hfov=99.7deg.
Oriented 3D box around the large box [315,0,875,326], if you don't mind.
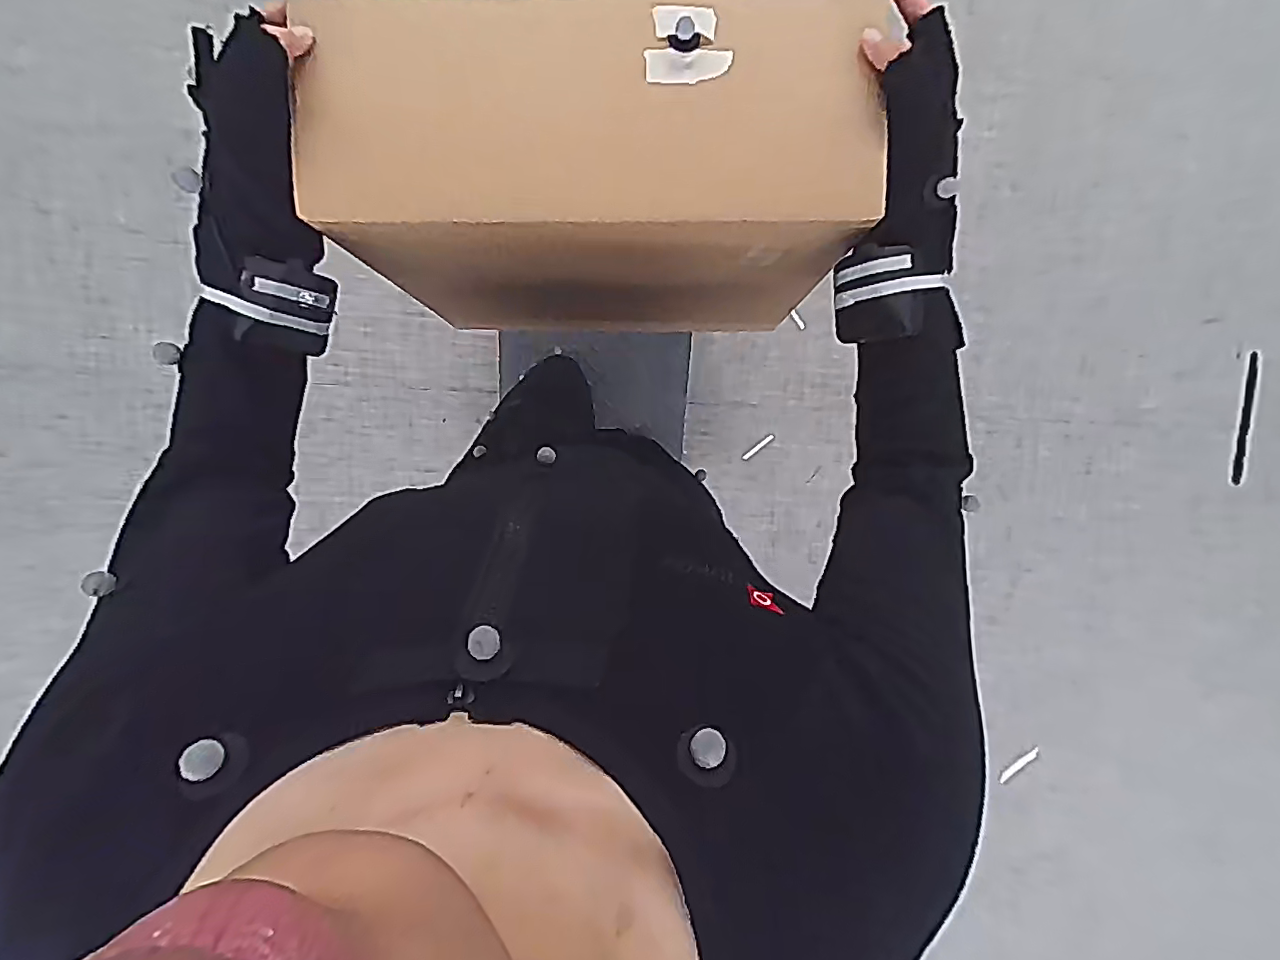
[{"bbox_3d":[-0.033,-0.348,0.532,0.408,0.320,0.320,0,92,0],"label":"large box"}]
